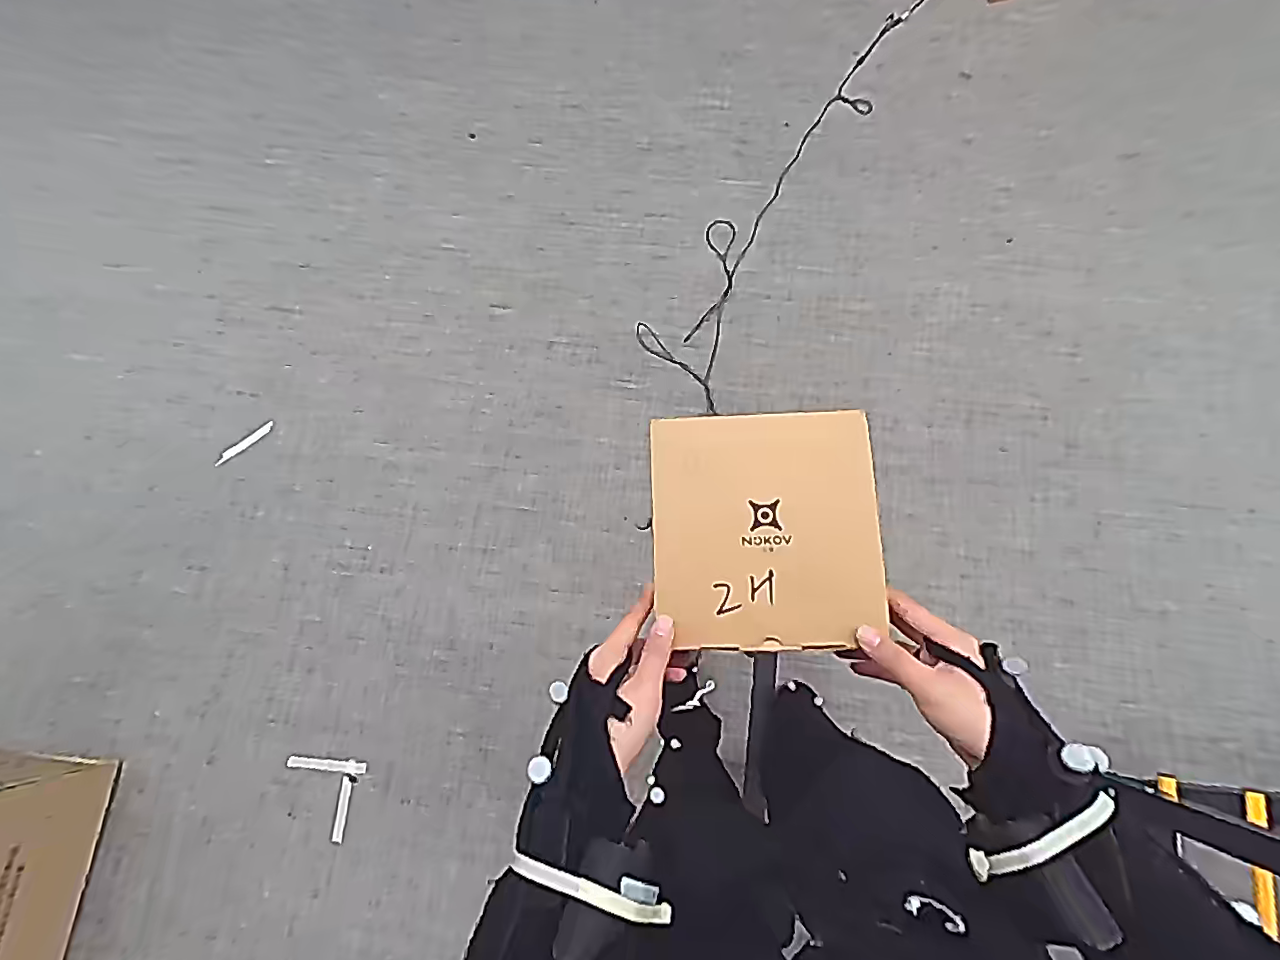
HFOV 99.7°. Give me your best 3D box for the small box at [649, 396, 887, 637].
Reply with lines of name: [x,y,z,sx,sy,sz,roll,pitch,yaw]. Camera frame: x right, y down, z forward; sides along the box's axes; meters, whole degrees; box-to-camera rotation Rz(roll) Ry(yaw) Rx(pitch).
small box: [0.093,0.040,0.468,0.168,0.176,0.179,-1,78,4]
